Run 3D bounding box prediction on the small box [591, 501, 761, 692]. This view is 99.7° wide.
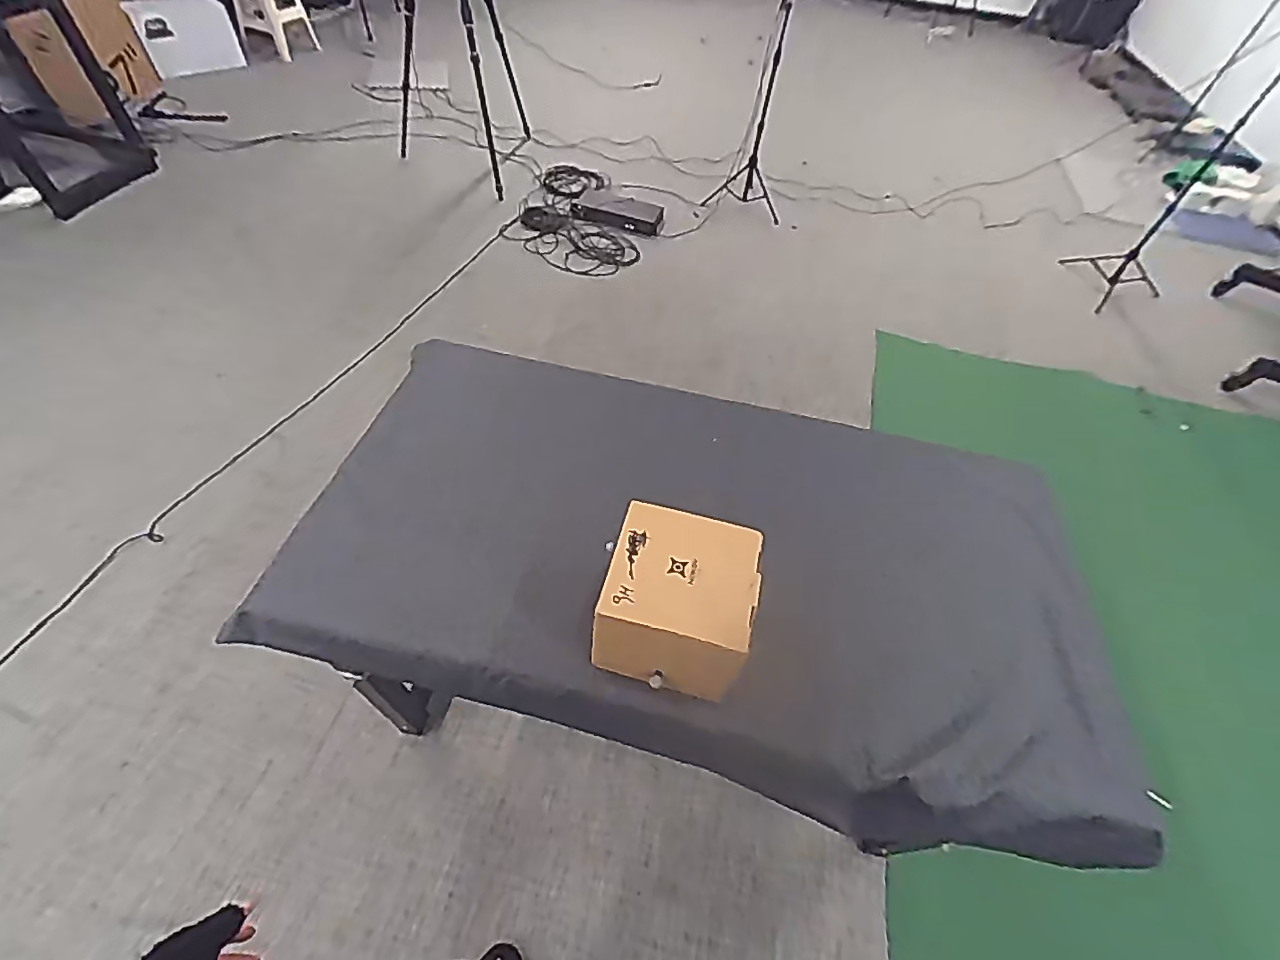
[{"bbox_3d":[0.043,0.159,0.710,0.179,0.176,0.168,15,51,4],"label":"small box"}]
